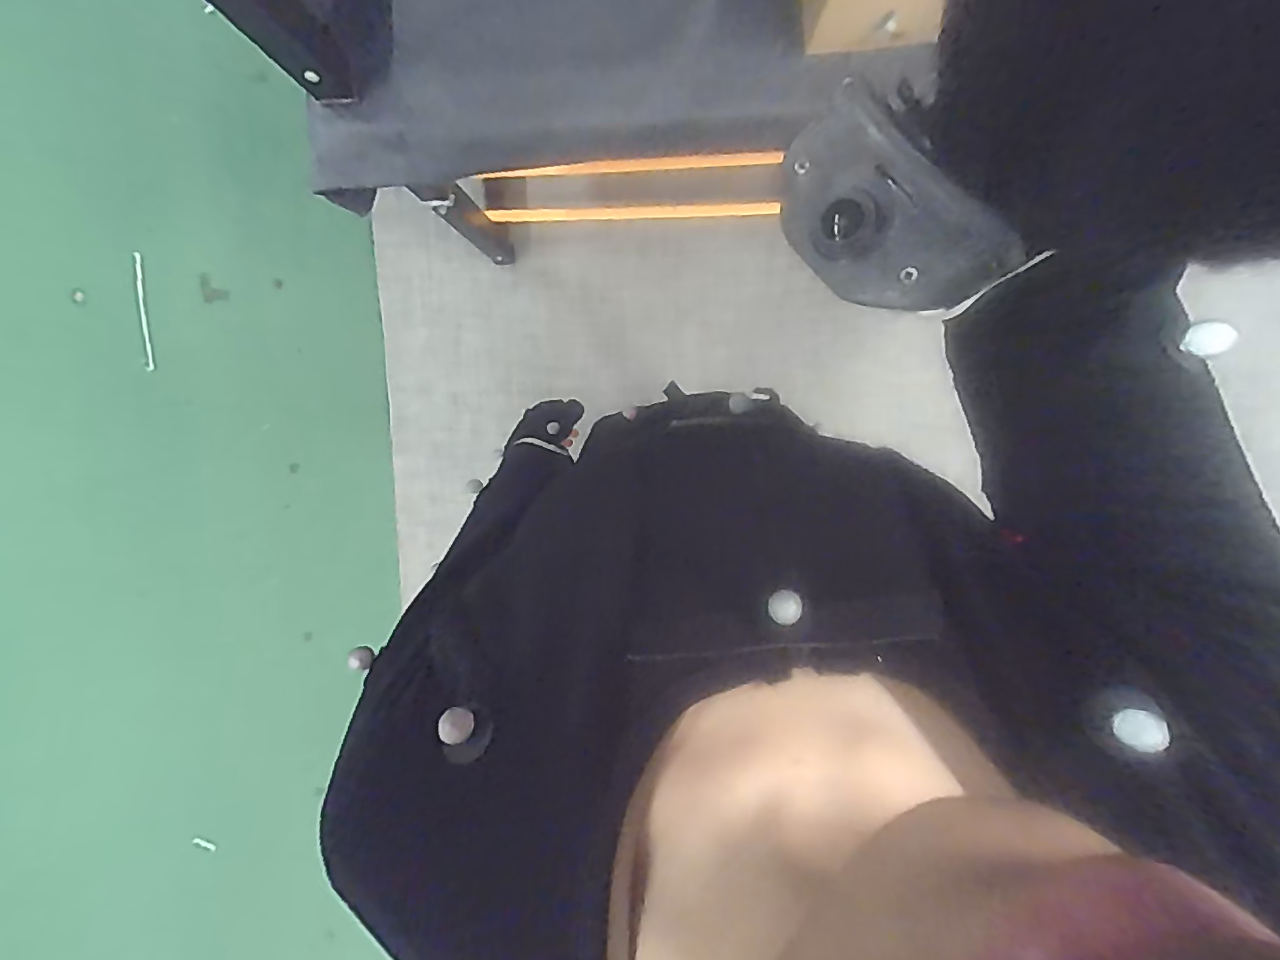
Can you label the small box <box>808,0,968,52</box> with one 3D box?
[{"bbox_3d":[0.281,-0.612,0.579,0.168,0.176,0.179,-4,96,3],"label":"small box"}]
